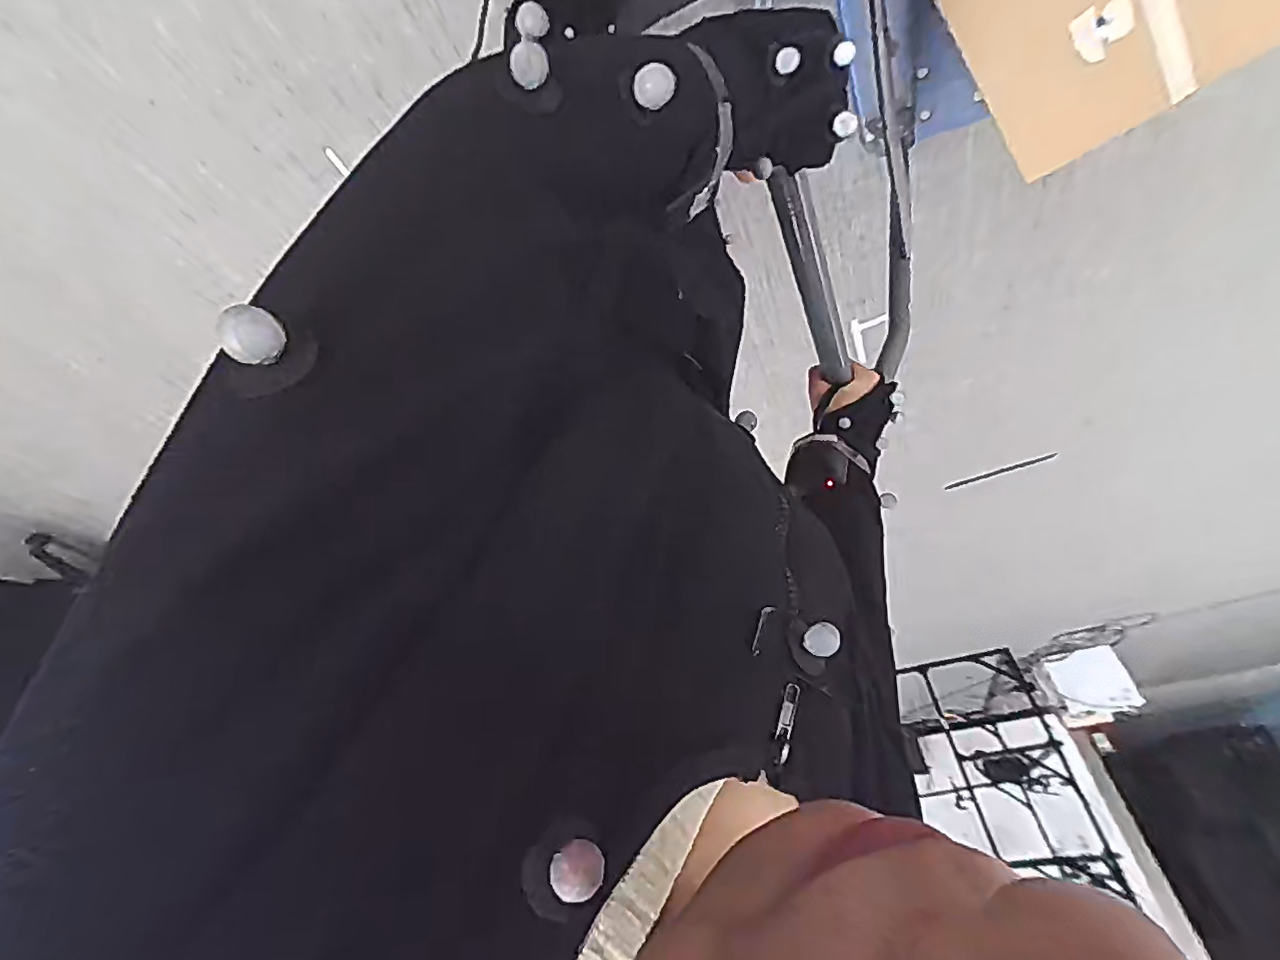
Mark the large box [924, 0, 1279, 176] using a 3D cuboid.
[{"bbox_3d":[0.492,-0.663,0.596,0.408,0.320,0.320,31,146,-32],"label":"large box"}]
